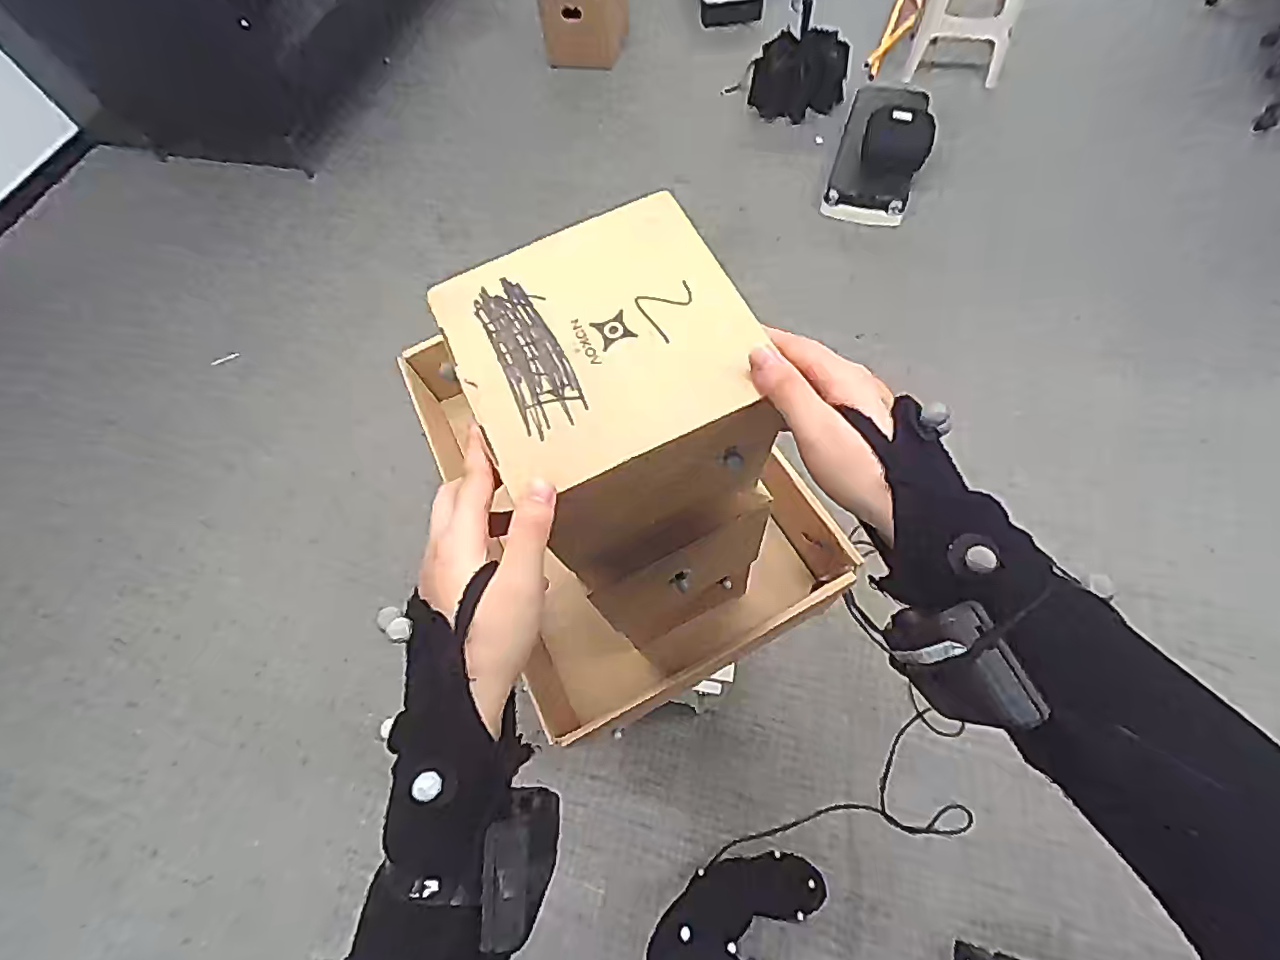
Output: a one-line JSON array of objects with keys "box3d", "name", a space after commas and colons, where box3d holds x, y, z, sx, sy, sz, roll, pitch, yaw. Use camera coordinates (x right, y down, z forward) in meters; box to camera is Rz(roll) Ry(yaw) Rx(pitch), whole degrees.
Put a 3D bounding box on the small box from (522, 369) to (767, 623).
[{"box3d": [0.007, 0.025, 0.556, 0.179, 0.176, 0.168, -27, 64, -5], "name": "small box"}]
